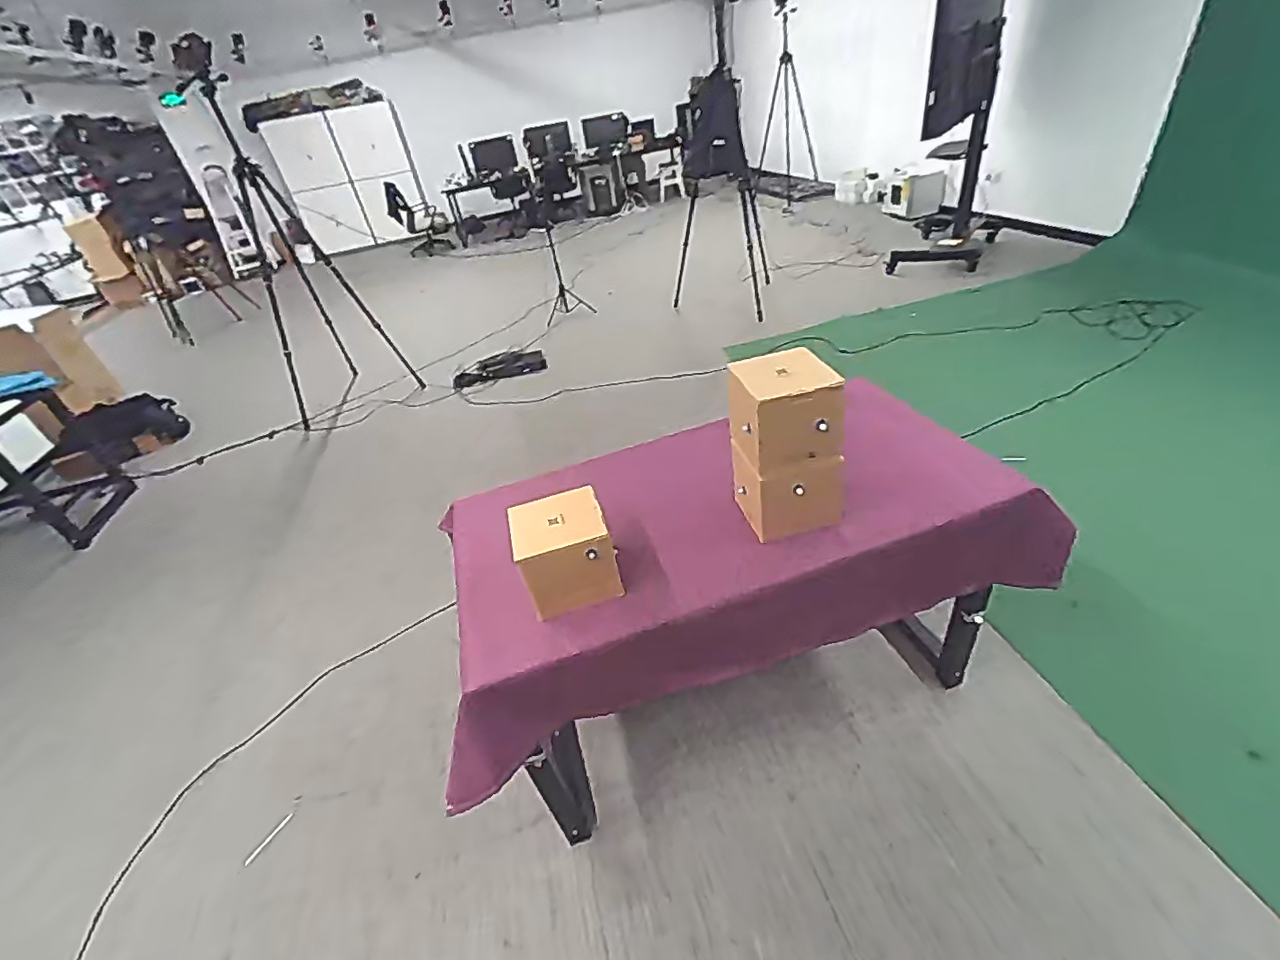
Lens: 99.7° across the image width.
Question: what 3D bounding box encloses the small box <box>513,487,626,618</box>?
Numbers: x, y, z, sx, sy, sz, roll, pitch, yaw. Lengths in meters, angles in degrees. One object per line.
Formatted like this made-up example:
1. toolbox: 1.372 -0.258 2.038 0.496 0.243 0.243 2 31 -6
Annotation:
1. small box: -0.141 0.146 1.077 0.179 0.176 0.168 -17 36 -7

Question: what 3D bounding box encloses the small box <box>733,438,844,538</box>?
1. small box: 0.310 -0.001 1.139 0.179 0.176 0.168 -15 36 -3

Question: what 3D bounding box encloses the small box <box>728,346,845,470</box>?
1. small box: 0.280 -0.135 1.051 0.168 0.176 0.179 -14 35 -3
